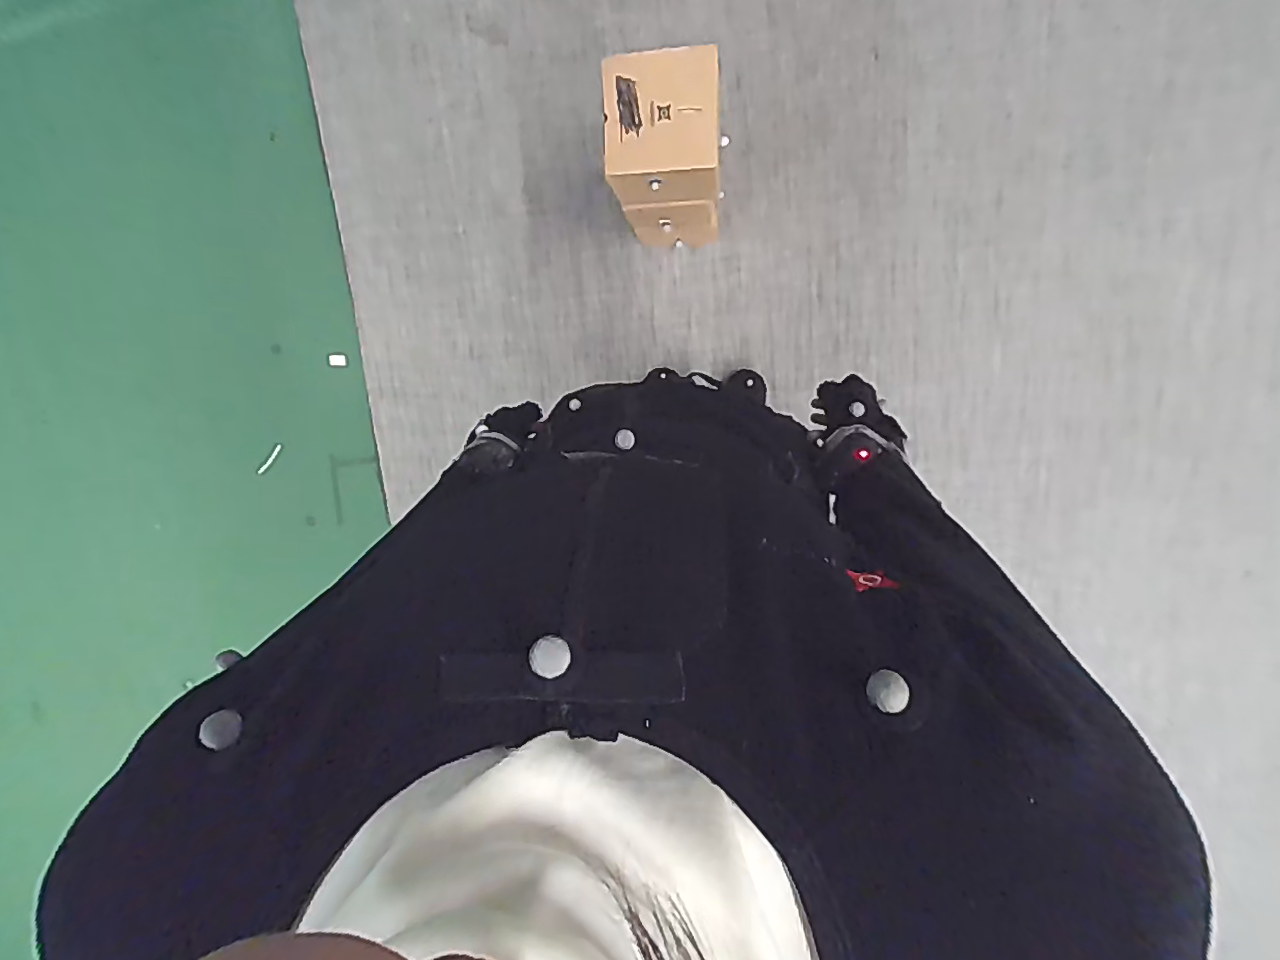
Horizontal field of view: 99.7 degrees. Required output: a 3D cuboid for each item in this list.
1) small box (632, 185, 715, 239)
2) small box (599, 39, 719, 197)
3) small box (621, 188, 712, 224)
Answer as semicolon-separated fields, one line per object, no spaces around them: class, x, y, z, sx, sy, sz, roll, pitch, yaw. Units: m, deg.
small box;0.079;-0.645;1.208;0.179;0.176;0.168;1;103;8
small box;0.038;-0.579;0.891;0.179;0.176;0.168;1;103;9
small box;0.055;-0.615;1.051;0.168;0.176;0.179;0;104;10
